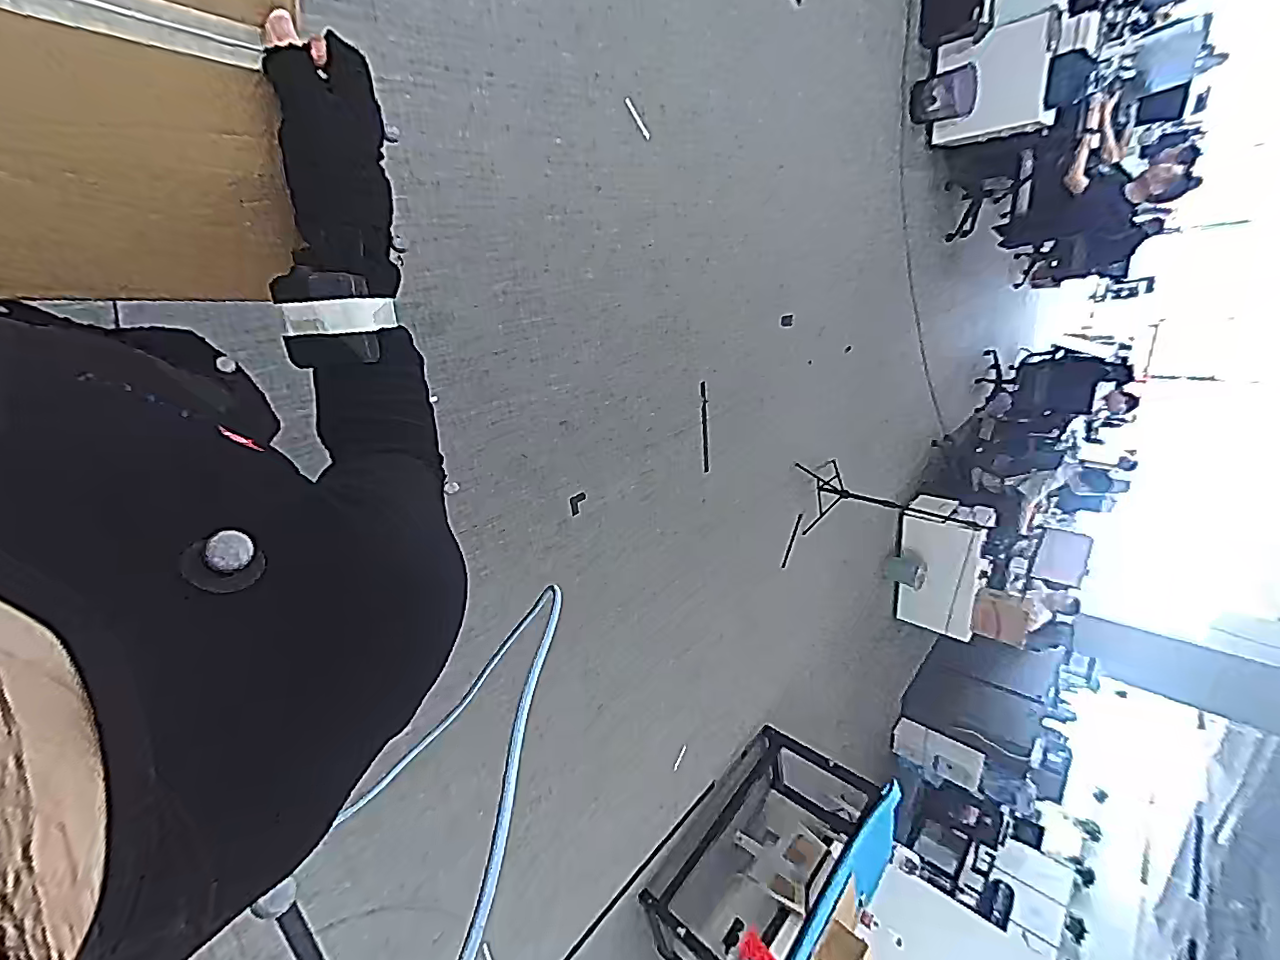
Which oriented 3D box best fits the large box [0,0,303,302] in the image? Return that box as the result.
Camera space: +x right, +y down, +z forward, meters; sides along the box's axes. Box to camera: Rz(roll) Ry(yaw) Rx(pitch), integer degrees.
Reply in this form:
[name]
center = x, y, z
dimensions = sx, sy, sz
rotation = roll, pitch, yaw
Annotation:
[large box]
center = -0.452, -0.306, 0.275
dimensions = 0.408, 0.320, 0.320
rotation = -18, 142, -43
